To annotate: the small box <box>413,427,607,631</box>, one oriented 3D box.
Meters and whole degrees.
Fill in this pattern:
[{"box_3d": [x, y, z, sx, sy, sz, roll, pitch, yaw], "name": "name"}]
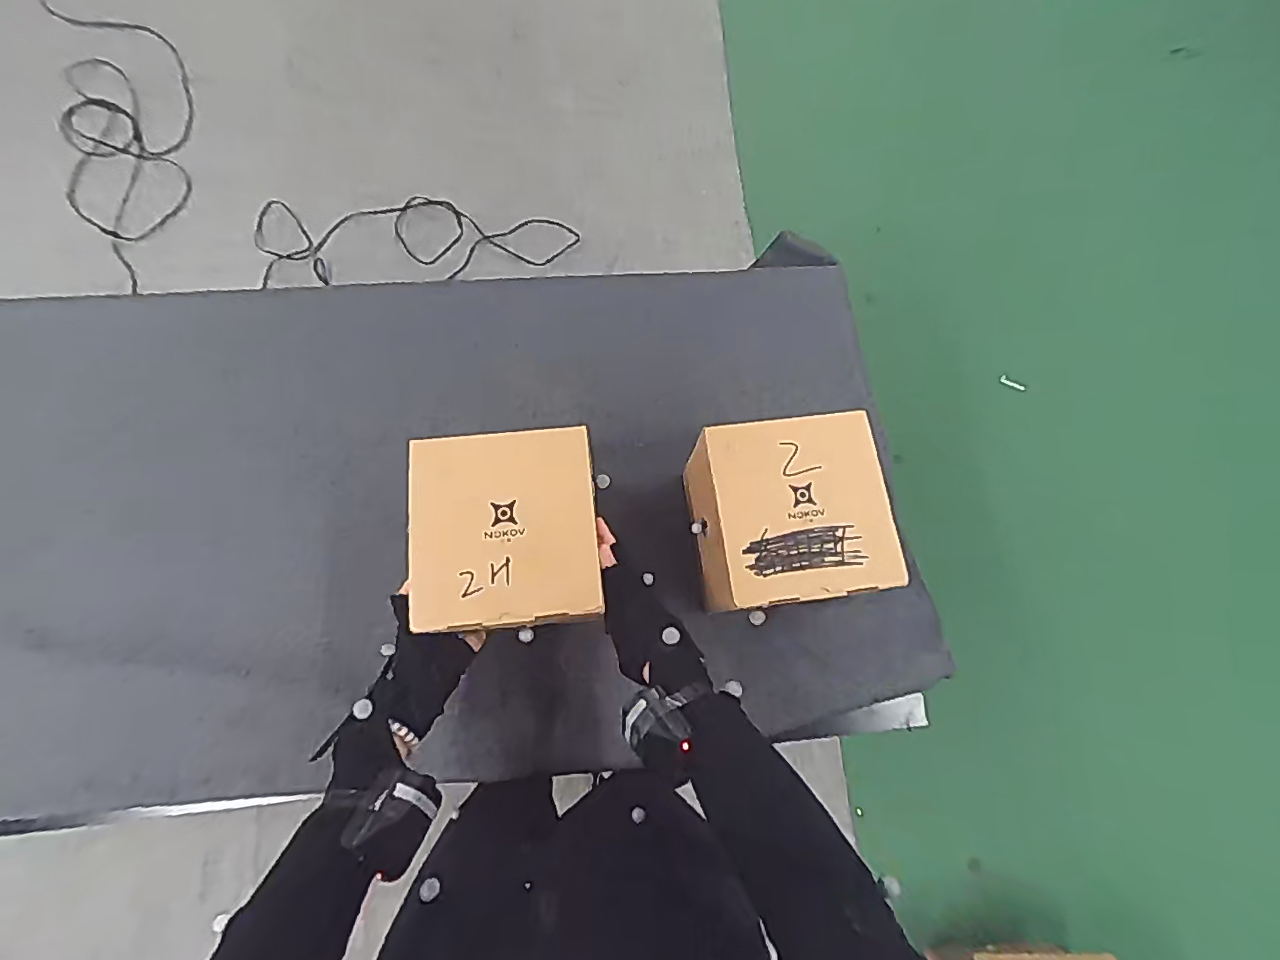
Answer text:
[{"box_3d": [-0.124, 0.059, 0.561, 0.168, 0.176, 0.179, -5, 75, -5], "name": "small box"}]
